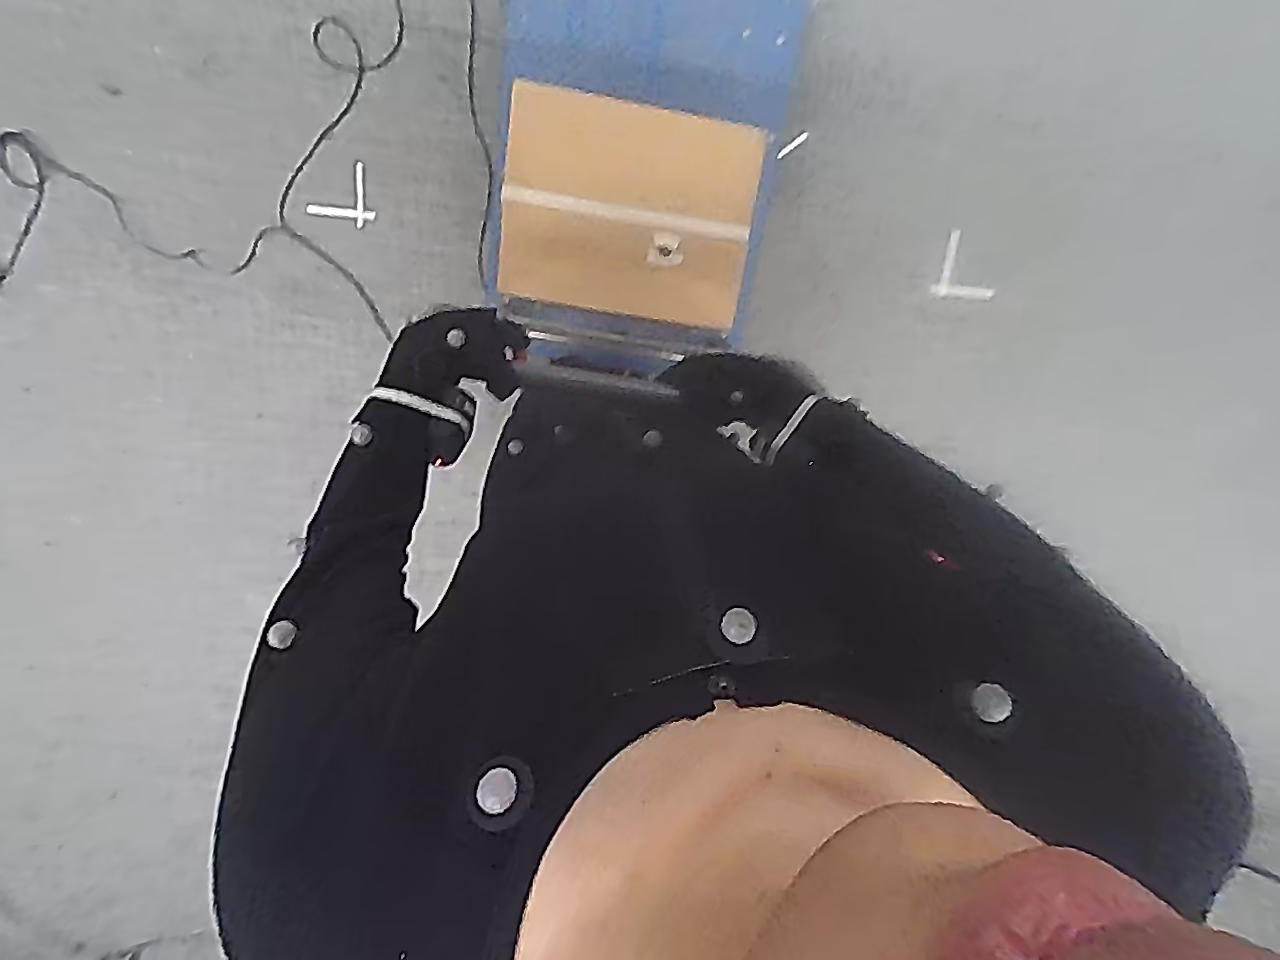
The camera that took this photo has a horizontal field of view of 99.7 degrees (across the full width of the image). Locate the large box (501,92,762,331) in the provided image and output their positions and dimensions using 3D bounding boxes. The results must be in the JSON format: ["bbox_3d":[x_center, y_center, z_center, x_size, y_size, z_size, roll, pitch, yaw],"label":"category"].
[{"bbox_3d":[-0.032,-0.465,1.022,0.408,0.320,0.320,7,106,-7],"label":"large box"}]
